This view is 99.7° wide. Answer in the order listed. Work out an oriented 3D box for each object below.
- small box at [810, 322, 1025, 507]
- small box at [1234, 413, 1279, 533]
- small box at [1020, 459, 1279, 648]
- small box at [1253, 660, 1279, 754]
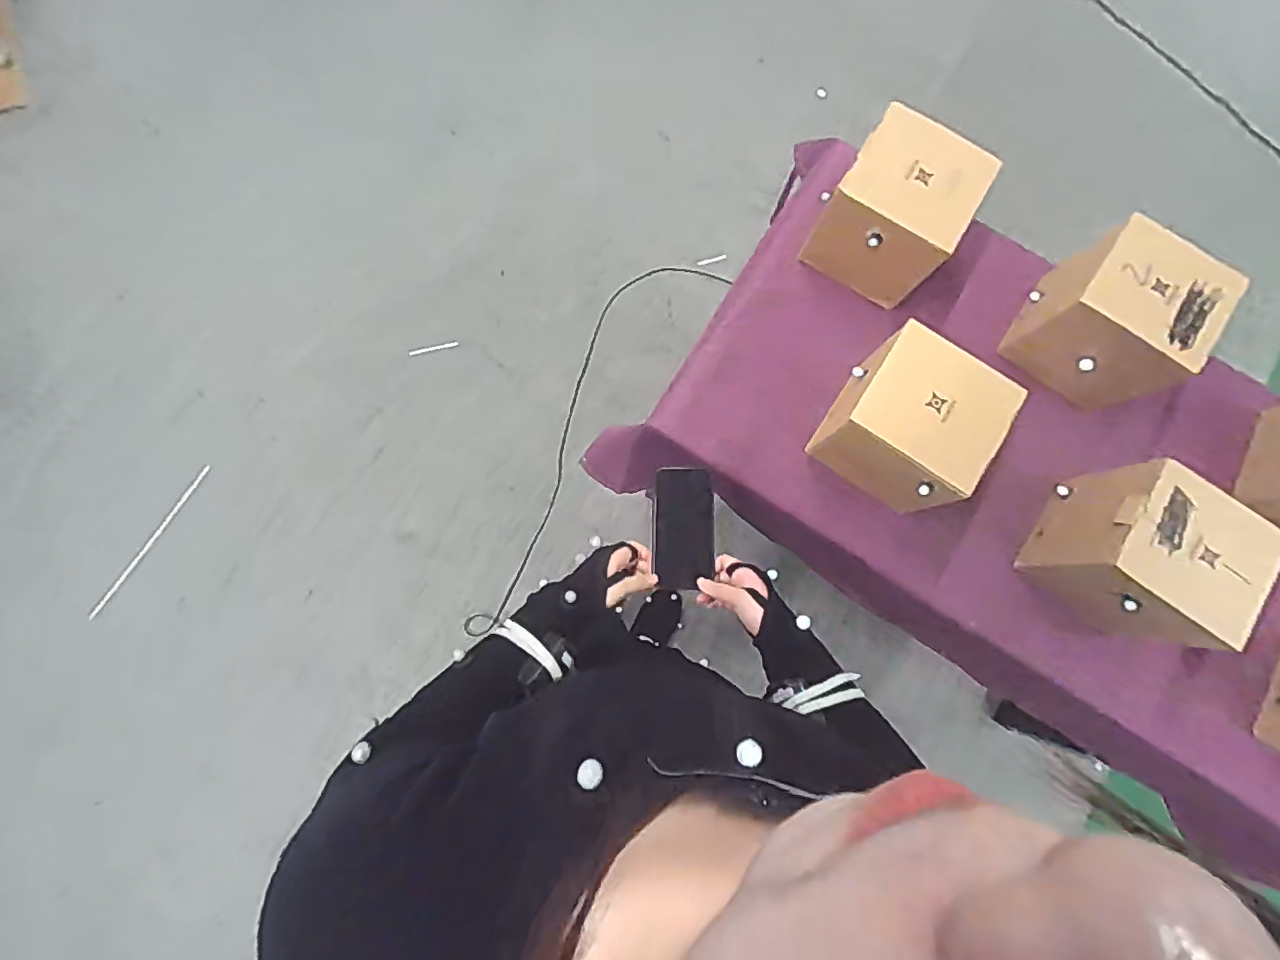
[{"bbox_3d":[0.368,-0.078,0.753,0.179,0.176,0.168,34,80,3],"label":"small box"},{"bbox_3d":[1.019,-0.008,0.762,0.168,0.176,0.179,30,80,4],"label":"small box"},{"bbox_3d":[0.671,0.101,0.730,0.179,0.176,0.168,36,80,4],"label":"small box"},{"bbox_3d":[0.987,0.330,0.699,0.179,0.176,0.168,32,79,4],"label":"small box"}]
